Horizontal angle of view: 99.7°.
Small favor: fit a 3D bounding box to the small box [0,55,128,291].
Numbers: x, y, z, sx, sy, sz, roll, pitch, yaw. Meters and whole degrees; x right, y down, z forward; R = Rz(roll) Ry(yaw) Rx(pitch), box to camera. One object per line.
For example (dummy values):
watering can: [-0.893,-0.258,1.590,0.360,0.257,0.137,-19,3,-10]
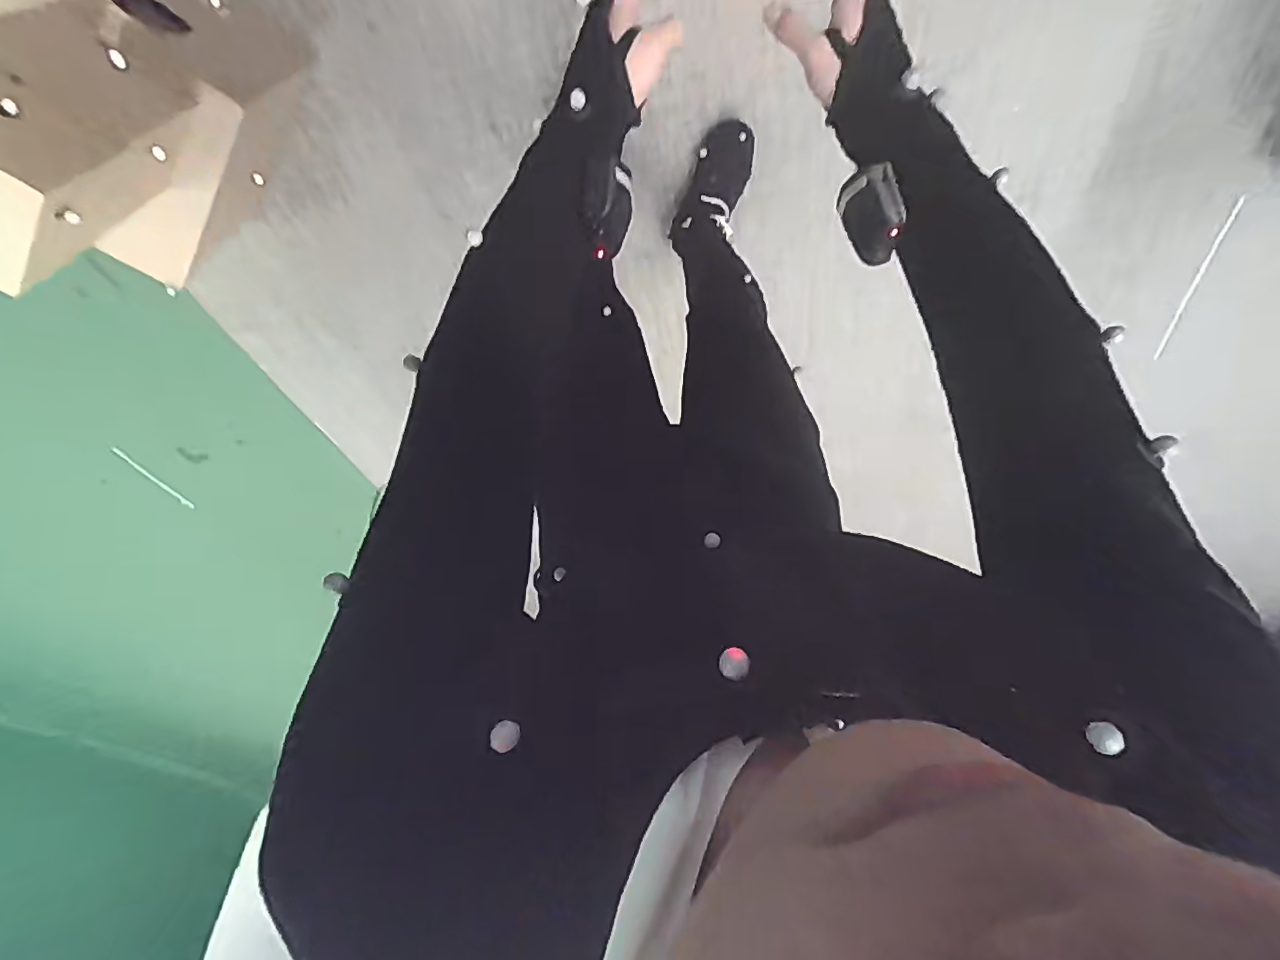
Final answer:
small box: [-0.761,-0.370,0.635,0.179,0.176,0.168,-33,130,29]
